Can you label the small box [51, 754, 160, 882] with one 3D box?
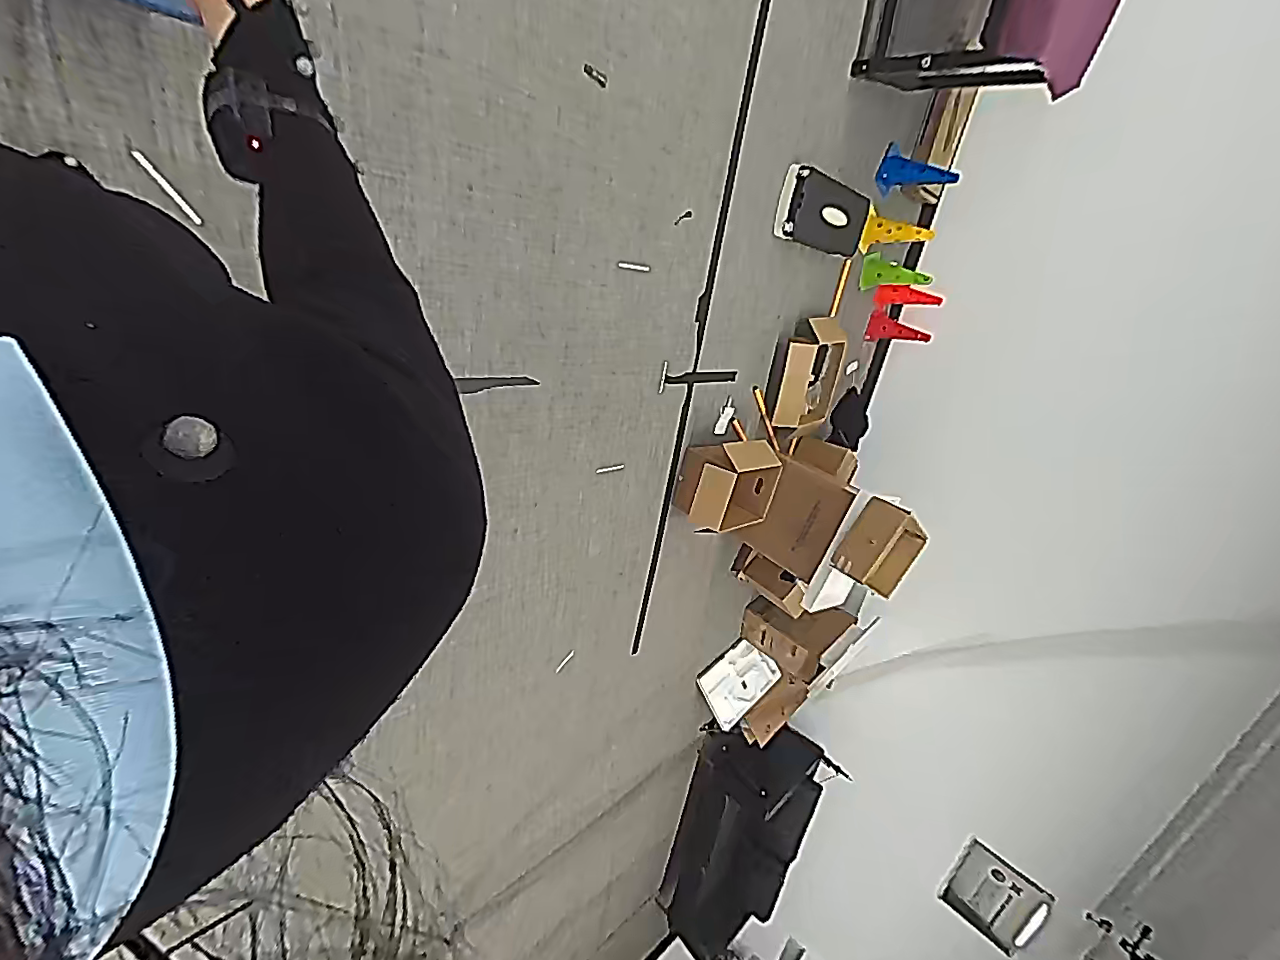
[{"bbox_3d":[-1.336,0.836,1.356,0.168,0.176,0.179,-16,124,-43],"label":"small box"}]
